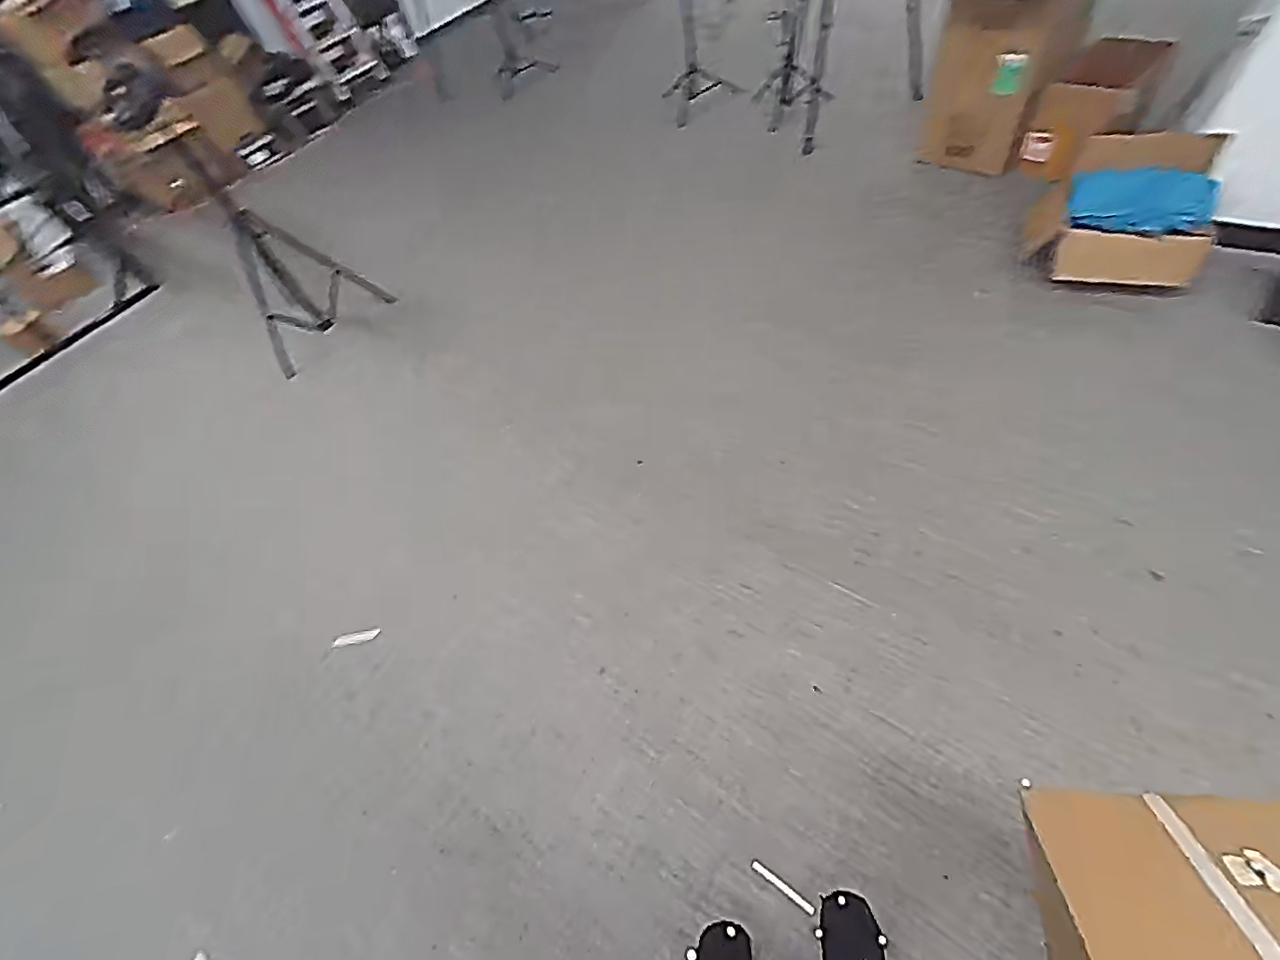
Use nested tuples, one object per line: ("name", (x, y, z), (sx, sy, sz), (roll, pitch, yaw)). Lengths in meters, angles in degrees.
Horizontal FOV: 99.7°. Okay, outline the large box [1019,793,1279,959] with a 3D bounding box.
("large box", (0.682, 0.623, 0.592), (0.320, 0.408, 0.320), (-10, 93, 21))
